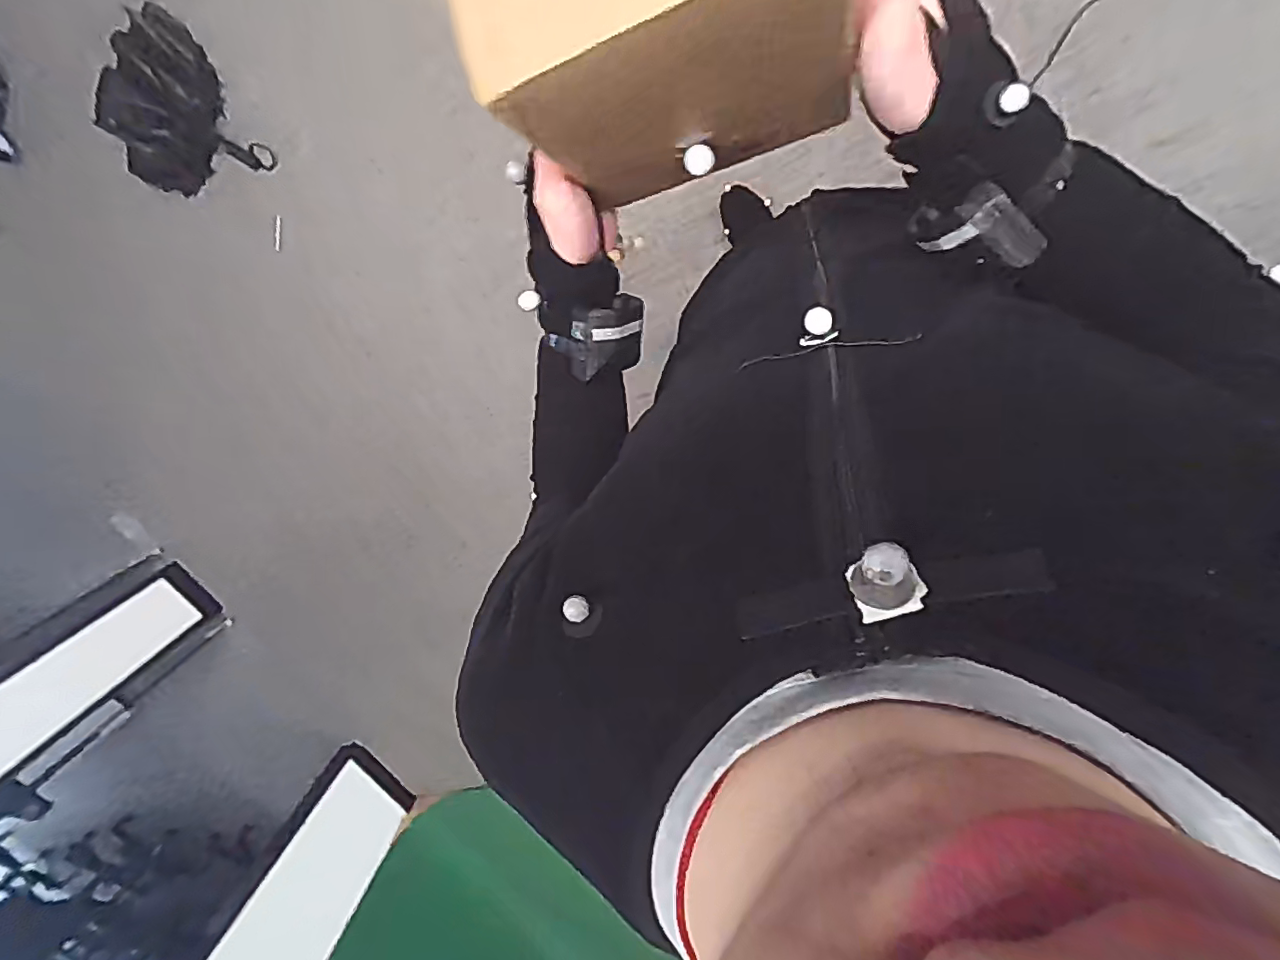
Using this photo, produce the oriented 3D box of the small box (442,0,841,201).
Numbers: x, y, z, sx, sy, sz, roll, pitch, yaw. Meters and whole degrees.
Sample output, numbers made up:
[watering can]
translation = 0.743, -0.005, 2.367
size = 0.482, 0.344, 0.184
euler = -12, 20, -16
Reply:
[small box]
translation = 0.006, -0.281, 0.282
size = 0.168, 0.176, 0.179
euler = -9, 98, 22
